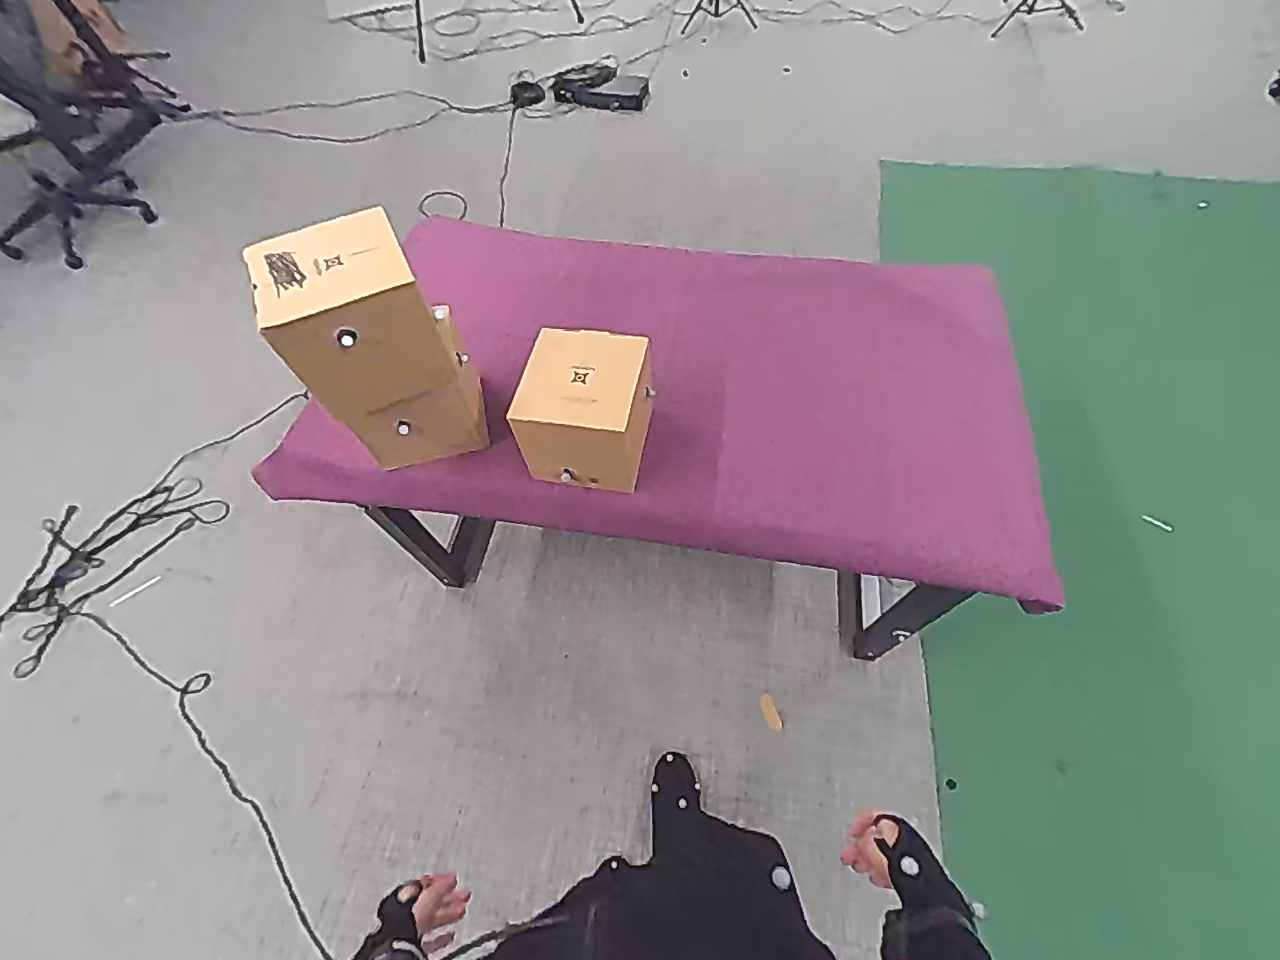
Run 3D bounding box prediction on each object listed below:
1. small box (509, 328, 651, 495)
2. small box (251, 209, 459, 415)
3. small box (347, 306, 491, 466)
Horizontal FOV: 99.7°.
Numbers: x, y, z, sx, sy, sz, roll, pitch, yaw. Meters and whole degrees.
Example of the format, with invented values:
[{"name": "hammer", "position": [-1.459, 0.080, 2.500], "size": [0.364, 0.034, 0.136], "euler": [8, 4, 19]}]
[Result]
[{"name": "small box", "position": [-0.078, -0.102, 0.825], "size": [0.168, 0.176, 0.179], "euler": [8, 59, 9]}, {"name": "small box", "position": [-0.365, -0.214, 0.712], "size": [0.179, 0.176, 0.168], "euler": [-23, 61, -12]}, {"name": "small box", "position": [-0.354, -0.142, 0.860], "size": [0.179, 0.176, 0.168], "euler": [-14, 60, -5]}]
